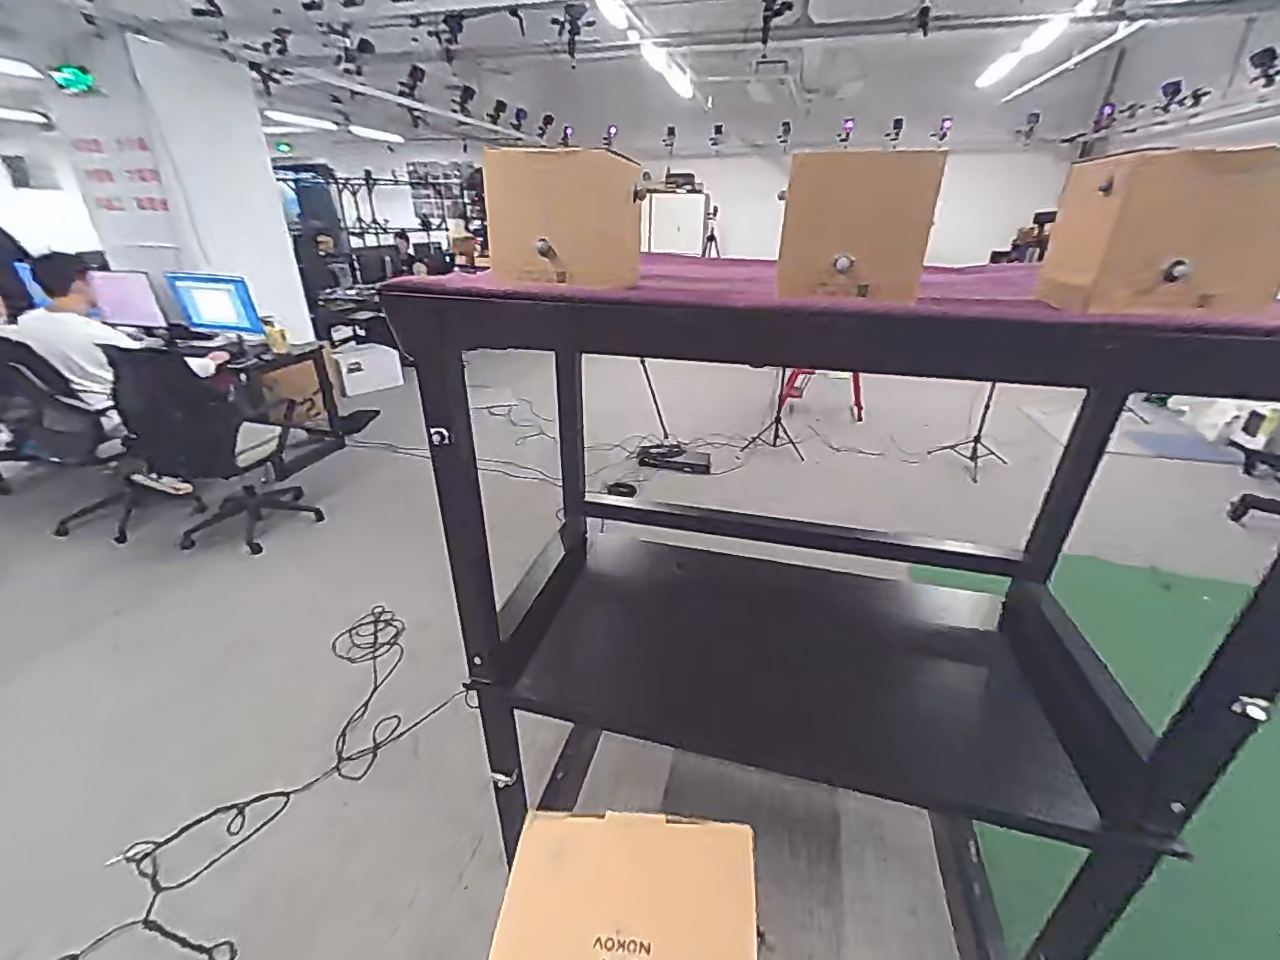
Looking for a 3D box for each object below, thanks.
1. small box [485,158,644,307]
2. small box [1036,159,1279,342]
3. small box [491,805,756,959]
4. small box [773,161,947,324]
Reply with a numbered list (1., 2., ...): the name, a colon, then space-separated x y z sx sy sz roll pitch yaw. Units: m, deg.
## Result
1. small box: -0.098 -0.347 0.763 0.168 0.176 0.179 8 26 13
2. small box: 0.595 -0.266 0.620 0.168 0.176 0.179 8 29 15
3. small box: -0.003 0.362 0.377 0.168 0.176 0.179 -3 37 11
4. small box: 0.267 -0.306 0.694 0.168 0.176 0.179 8 29 14
